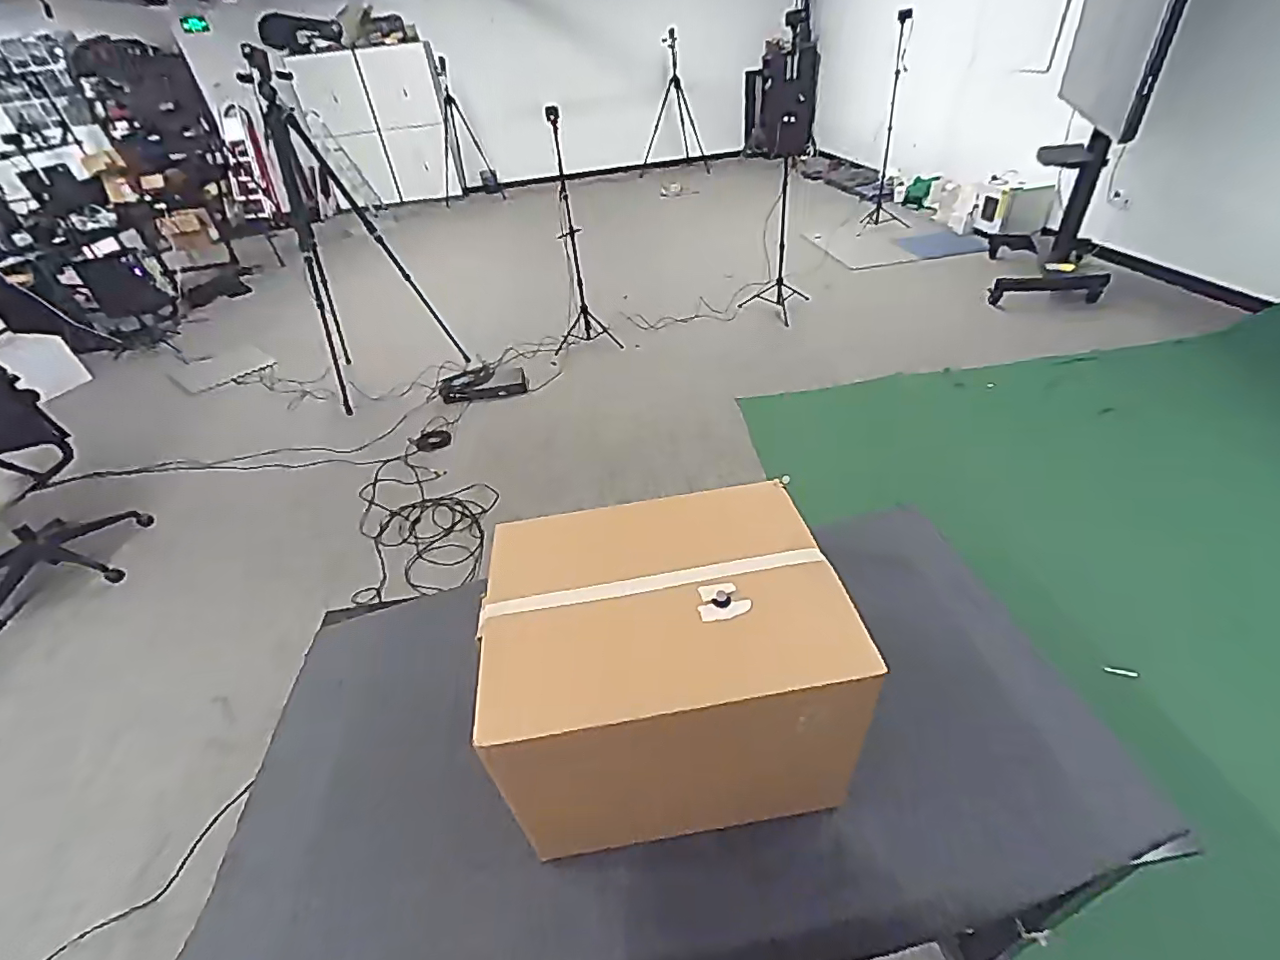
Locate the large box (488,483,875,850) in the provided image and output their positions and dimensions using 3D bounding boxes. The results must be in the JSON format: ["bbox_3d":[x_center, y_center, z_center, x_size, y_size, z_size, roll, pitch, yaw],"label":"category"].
[{"bbox_3d":[0.036,0.244,0.740,0.408,0.320,0.320,-9,39,-3],"label":"large box"}]
